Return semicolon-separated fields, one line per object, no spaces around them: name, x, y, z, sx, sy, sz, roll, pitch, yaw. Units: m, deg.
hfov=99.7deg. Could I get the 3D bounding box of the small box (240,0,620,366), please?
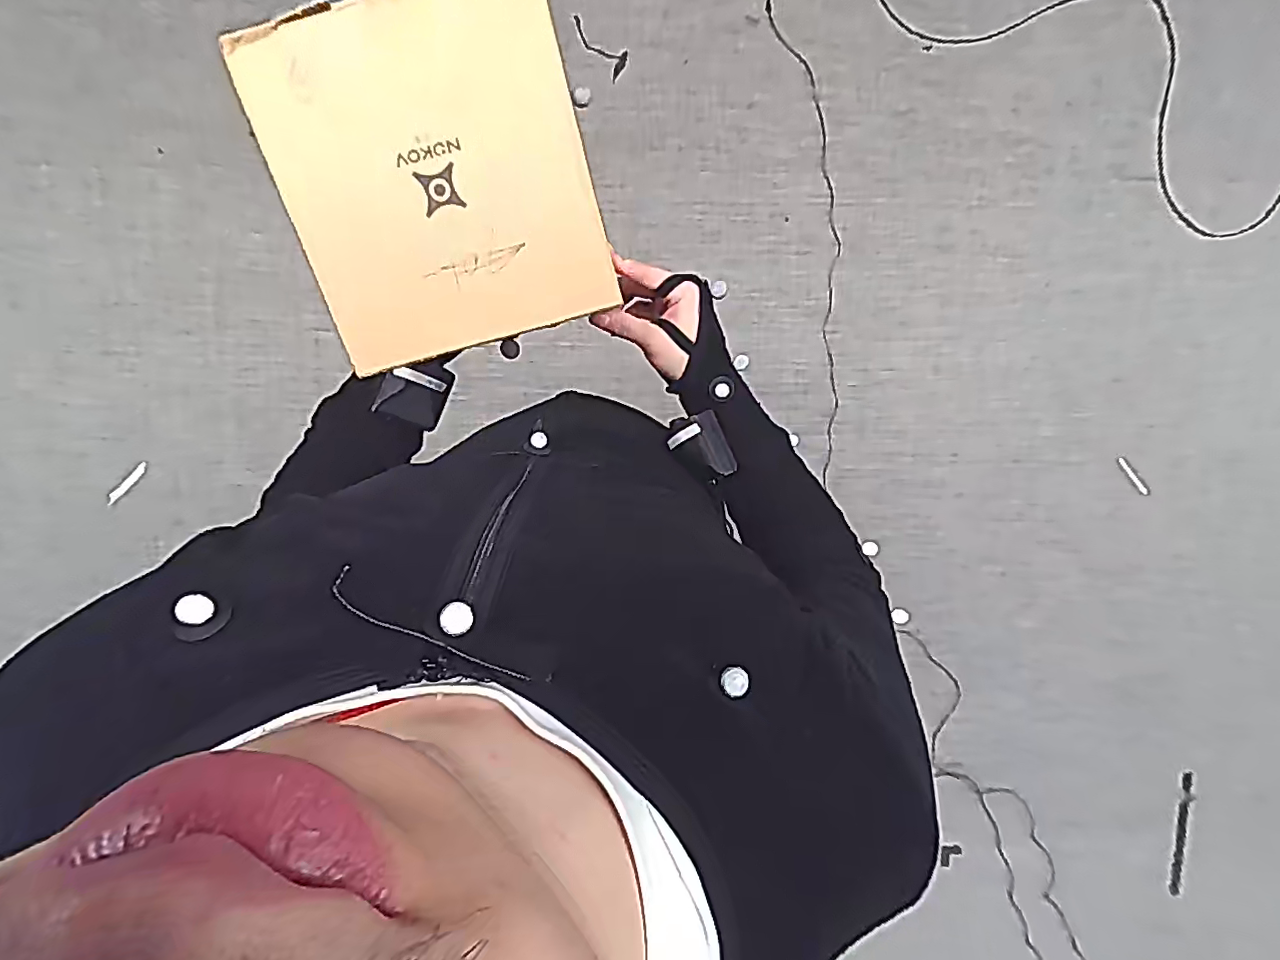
small box;-0.116;-0.190;0.381;0.168;0.176;0.179;-14;109;1
